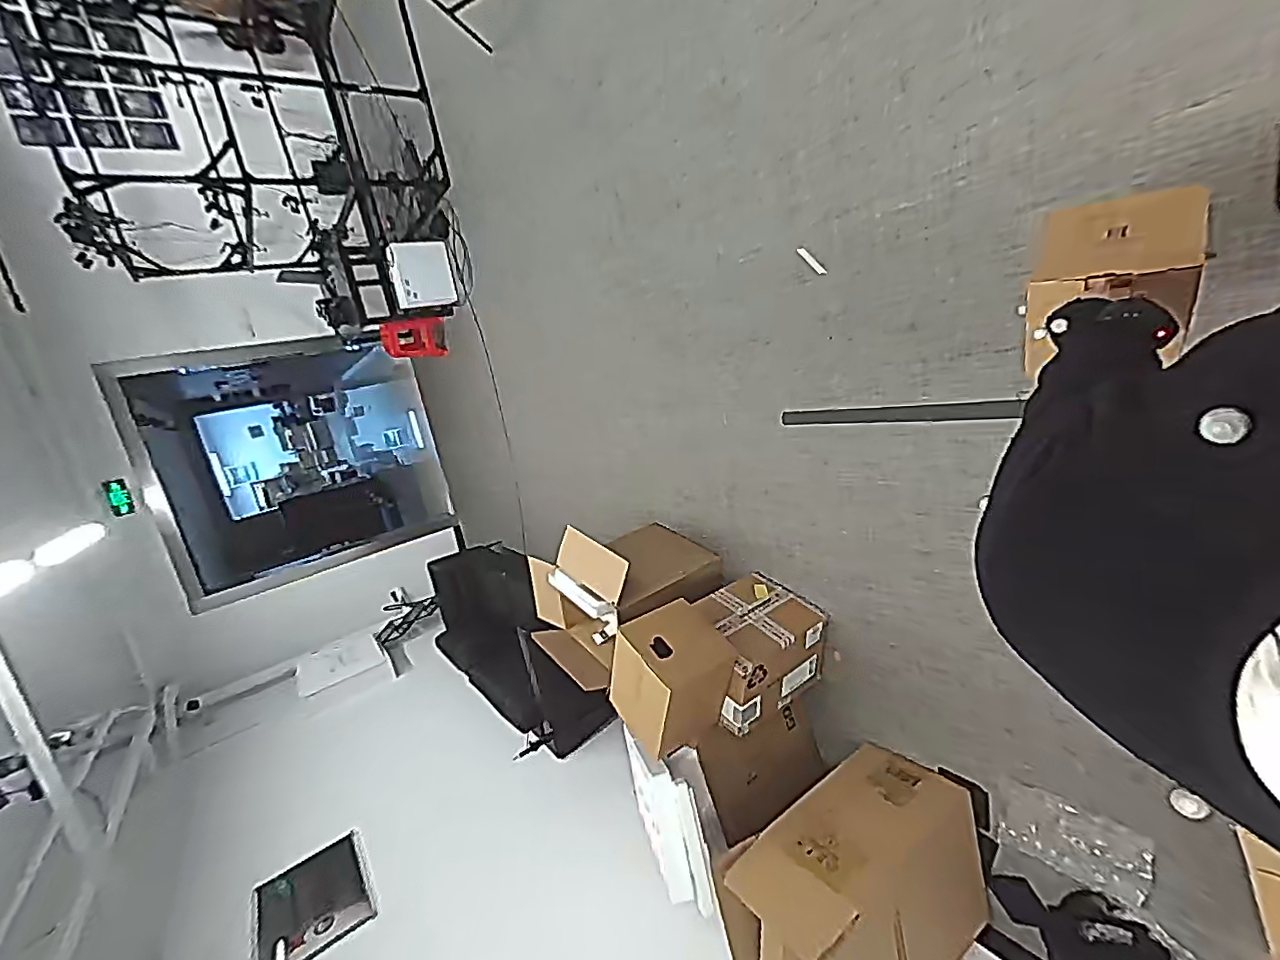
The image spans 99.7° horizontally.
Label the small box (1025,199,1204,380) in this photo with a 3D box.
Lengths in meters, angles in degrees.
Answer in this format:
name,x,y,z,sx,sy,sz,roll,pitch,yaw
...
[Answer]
name,x,y,z,sx,sy,sz,roll,pitch,yaw
small box,0.653,-0.255,0.758,0.168,0.179,0.176,10,143,39
